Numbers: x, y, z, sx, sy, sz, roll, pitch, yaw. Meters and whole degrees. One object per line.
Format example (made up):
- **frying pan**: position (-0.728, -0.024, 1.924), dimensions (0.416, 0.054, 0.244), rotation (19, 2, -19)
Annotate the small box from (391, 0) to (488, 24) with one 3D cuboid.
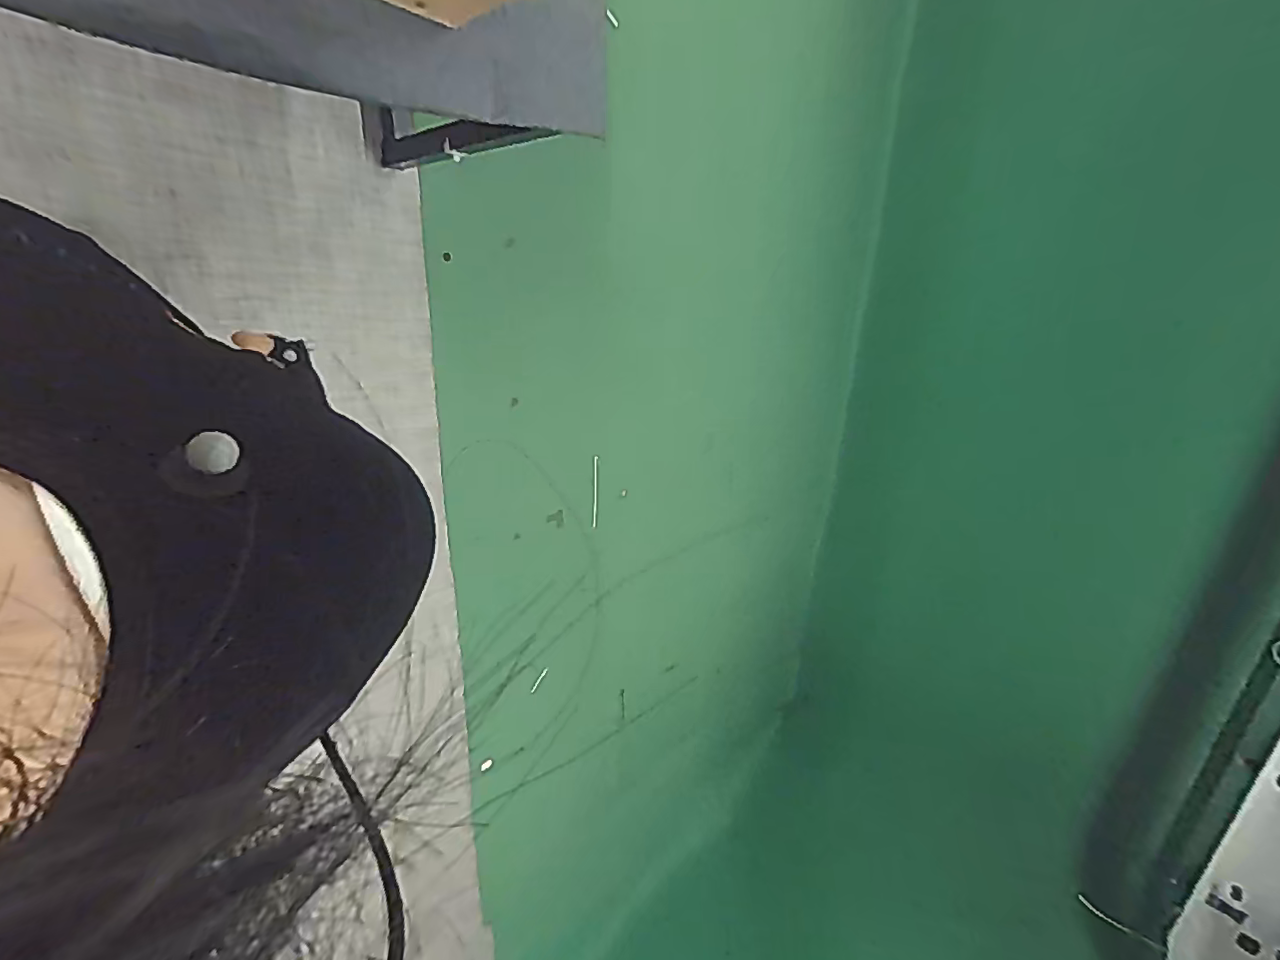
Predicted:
- **small box**: position (-0.241, -0.633, 0.576), dimensions (0.168, 0.176, 0.179), rotation (-19, 118, -45)
